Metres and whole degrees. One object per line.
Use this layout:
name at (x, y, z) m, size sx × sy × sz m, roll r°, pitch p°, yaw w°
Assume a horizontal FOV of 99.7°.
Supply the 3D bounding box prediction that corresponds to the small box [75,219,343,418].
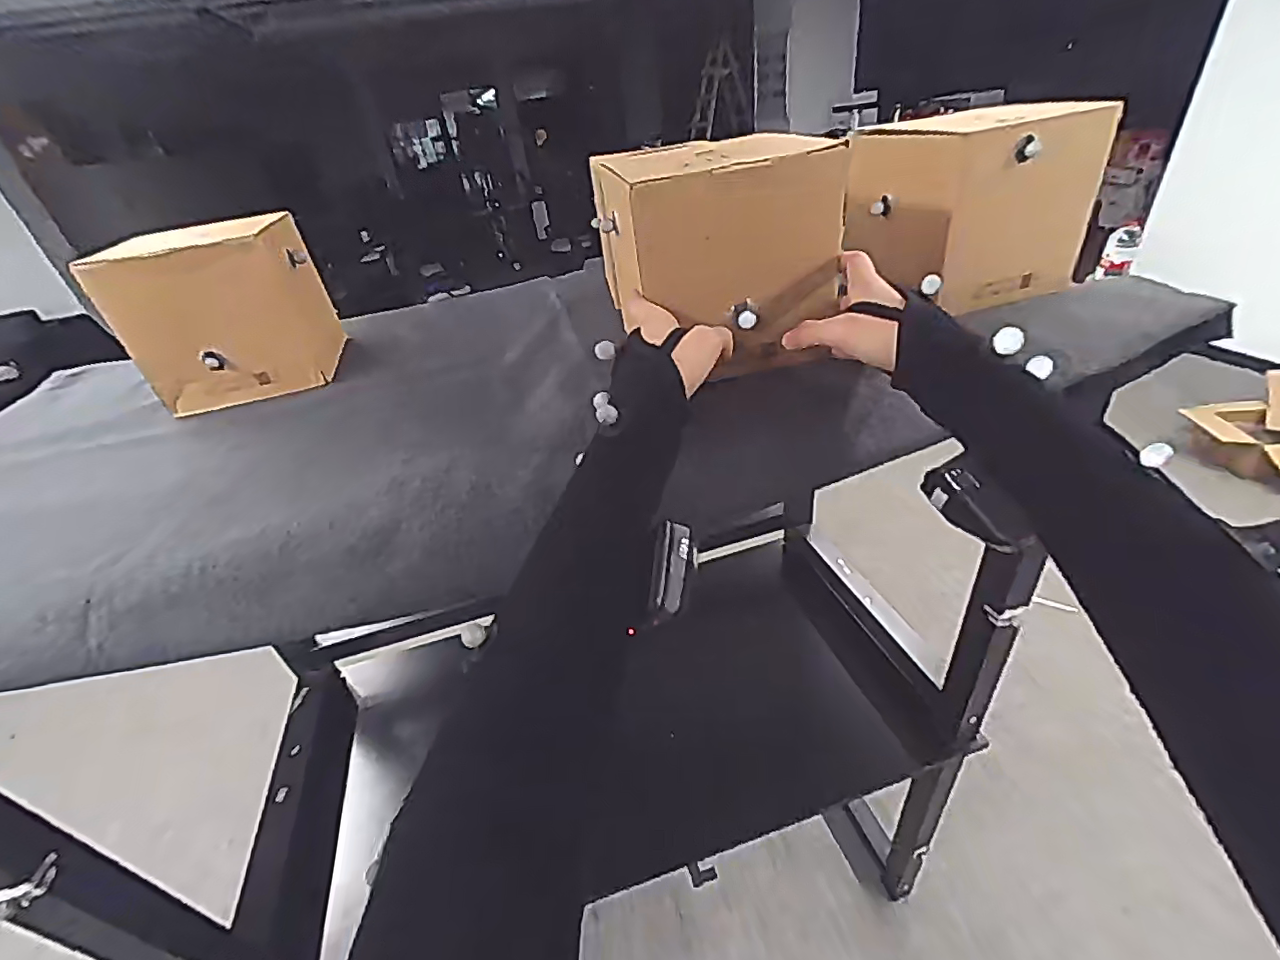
small box at (-0.476, -0.194, 0.638) m, size 0.168 × 0.176 × 0.179 m, roll -16°, pitch 36°, yaw -11°

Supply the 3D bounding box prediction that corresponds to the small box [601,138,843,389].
small box at (0.064, -0.203, 0.499) m, size 0.168 × 0.176 × 0.179 m, roll -12°, pitch 35°, yaw -3°

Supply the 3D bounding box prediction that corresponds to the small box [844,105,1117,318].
small box at (0.339, -0.287, 0.584) m, size 0.168 × 0.176 × 0.179 m, roll -15°, pitch 34°, yaw -8°
